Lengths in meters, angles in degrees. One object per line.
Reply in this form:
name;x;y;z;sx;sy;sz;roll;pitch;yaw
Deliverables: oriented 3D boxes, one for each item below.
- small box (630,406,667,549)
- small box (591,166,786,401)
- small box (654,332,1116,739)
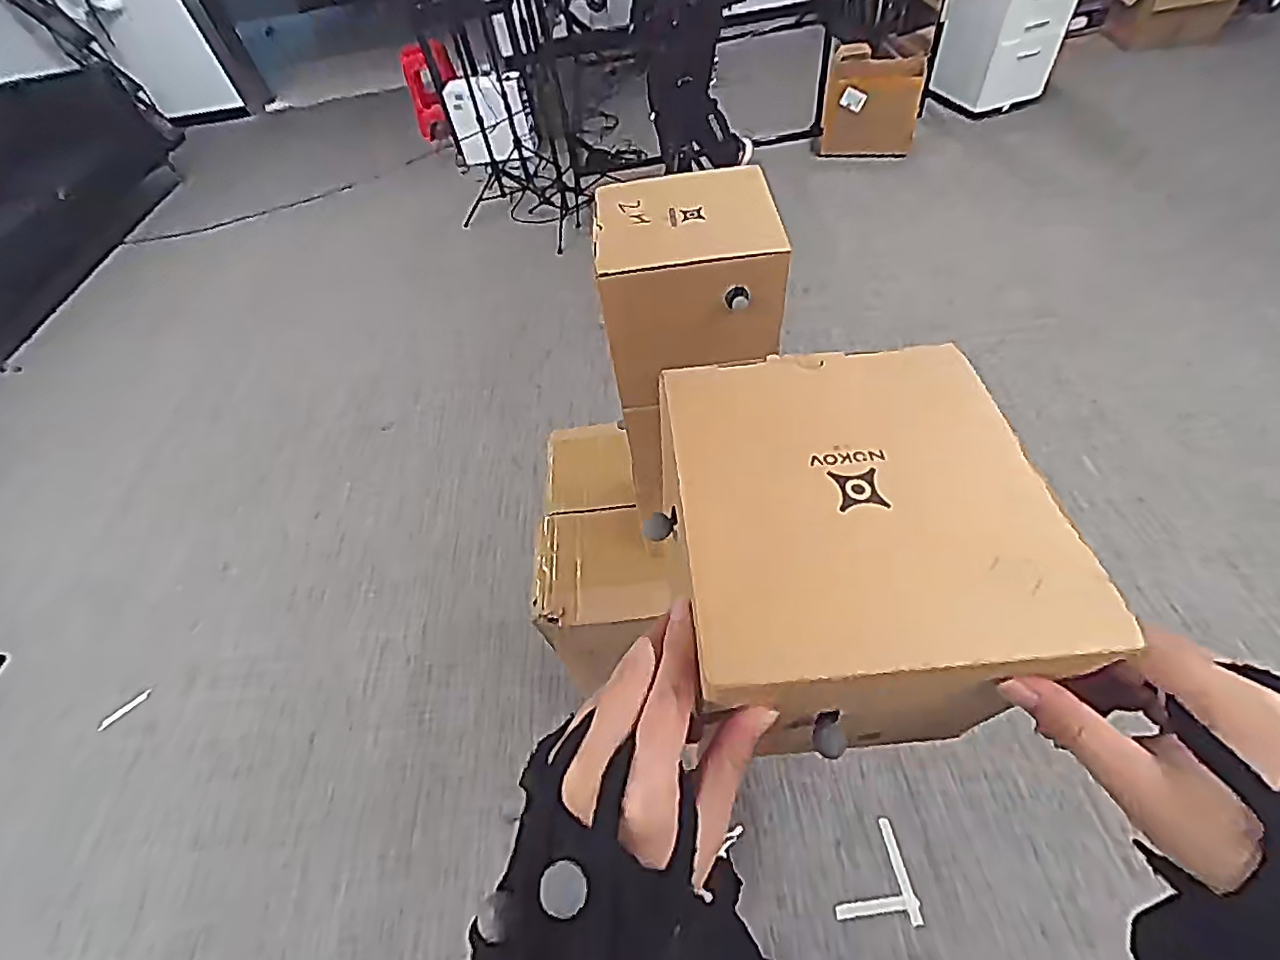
small box;0.082;-0.004;0.845;0.179;0.176;0.168;-6;52;4
small box;0.048;-0.206;0.586;0.179;0.176;0.168;-6;52;4
small box;0.101;0.042;0.318;0.168;0.176;0.179;-6;52;0
